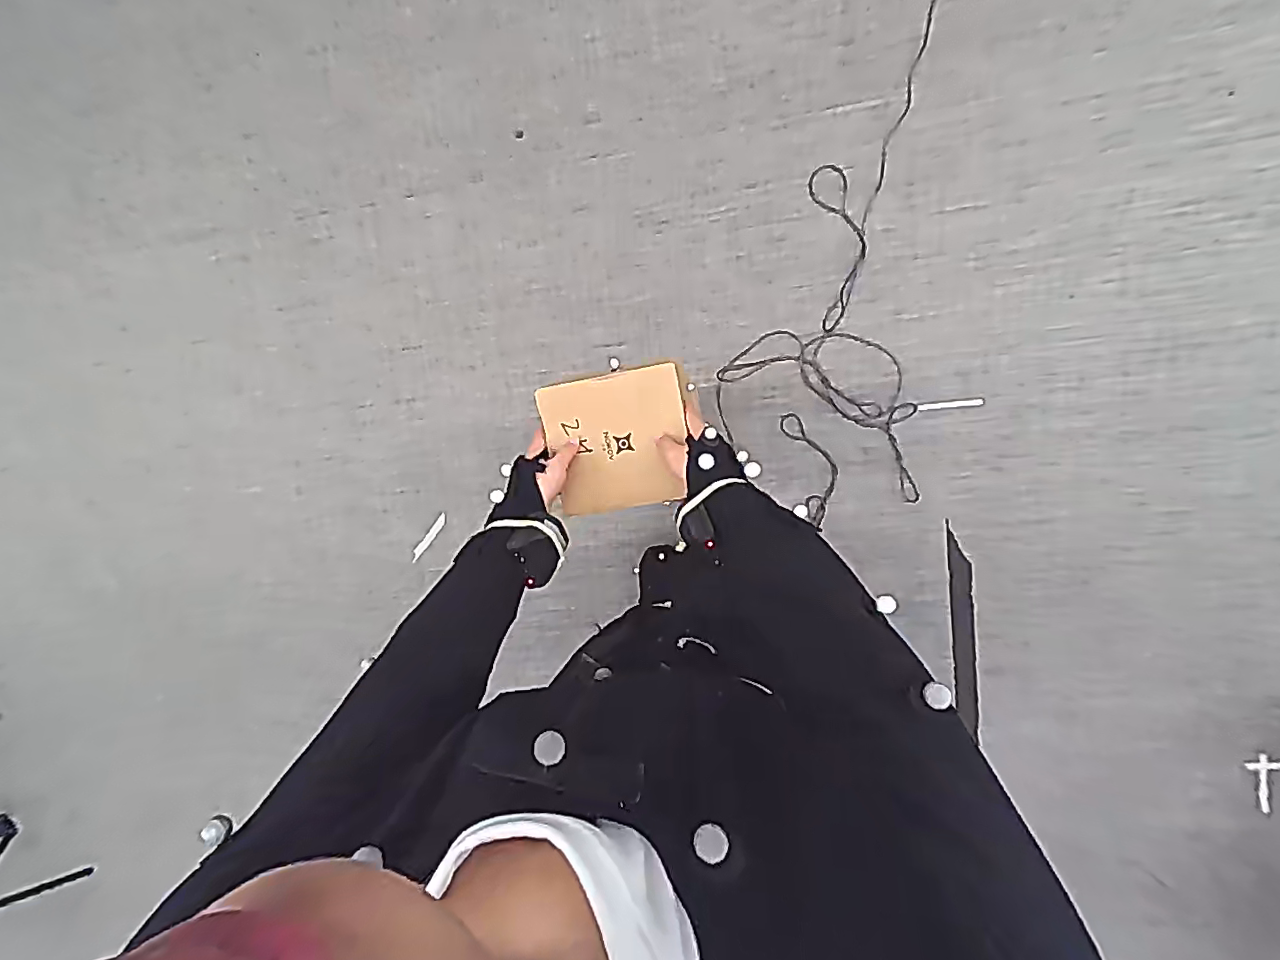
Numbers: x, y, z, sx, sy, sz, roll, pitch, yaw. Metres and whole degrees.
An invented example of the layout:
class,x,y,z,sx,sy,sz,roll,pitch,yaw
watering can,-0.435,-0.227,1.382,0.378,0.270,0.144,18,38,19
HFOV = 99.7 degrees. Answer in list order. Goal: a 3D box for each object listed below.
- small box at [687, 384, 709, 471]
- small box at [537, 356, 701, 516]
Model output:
class,x,y,z,sx,sy,sz,roll,pitch,yaw
small box,0.041,-0.094,1.082,0.179,0.176,0.168,-10,94,11
small box,-0.017,-0.067,0.729,0.179,0.176,0.168,-9,106,10
